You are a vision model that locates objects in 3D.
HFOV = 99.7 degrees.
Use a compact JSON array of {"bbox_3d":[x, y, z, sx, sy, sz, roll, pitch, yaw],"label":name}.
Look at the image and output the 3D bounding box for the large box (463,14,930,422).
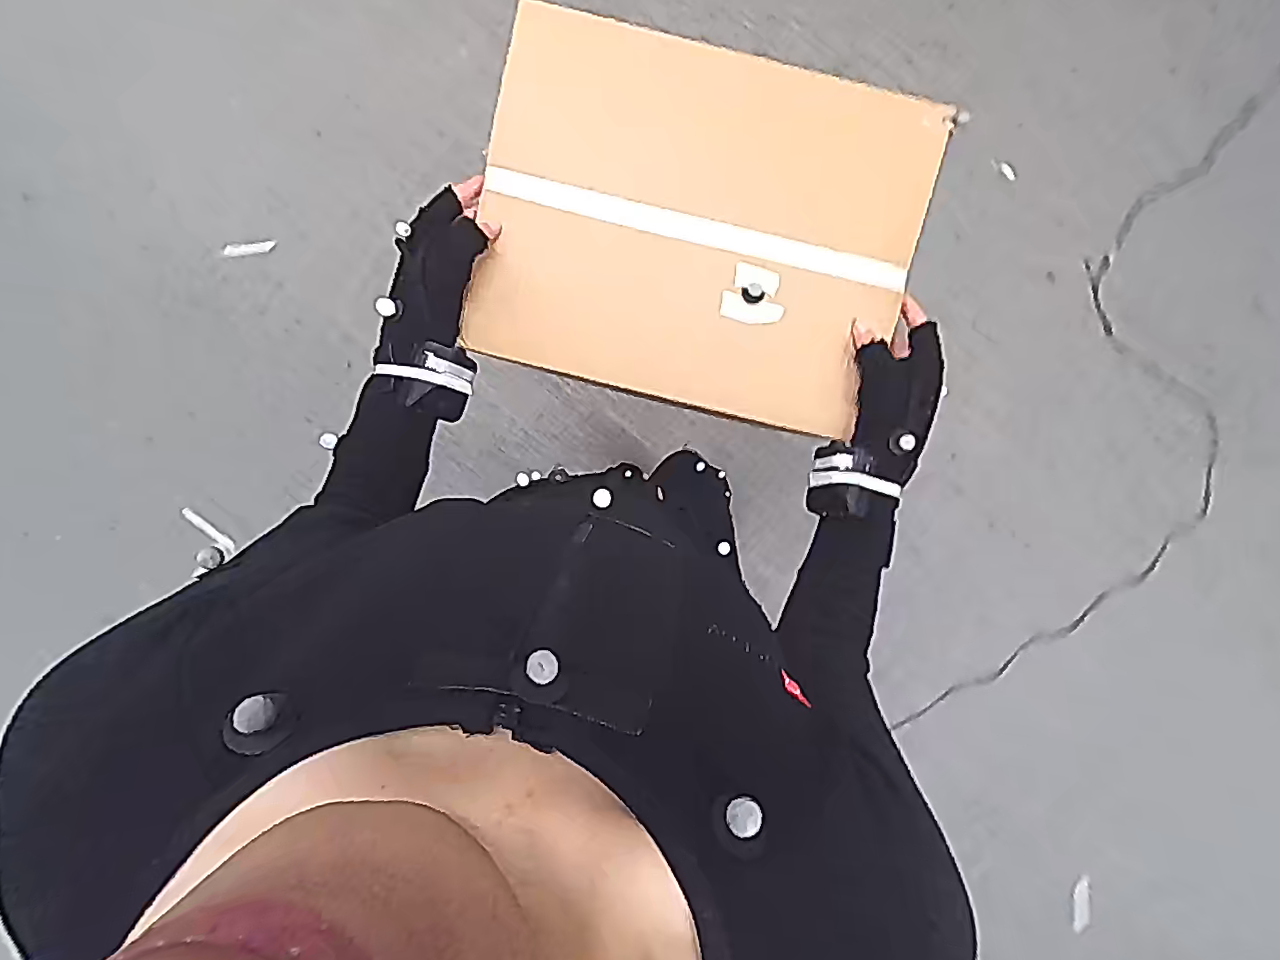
[{"bbox_3d":[0.047,-0.261,0.666,0.408,0.320,0.320,13,97,-1],"label":"large box"}]
